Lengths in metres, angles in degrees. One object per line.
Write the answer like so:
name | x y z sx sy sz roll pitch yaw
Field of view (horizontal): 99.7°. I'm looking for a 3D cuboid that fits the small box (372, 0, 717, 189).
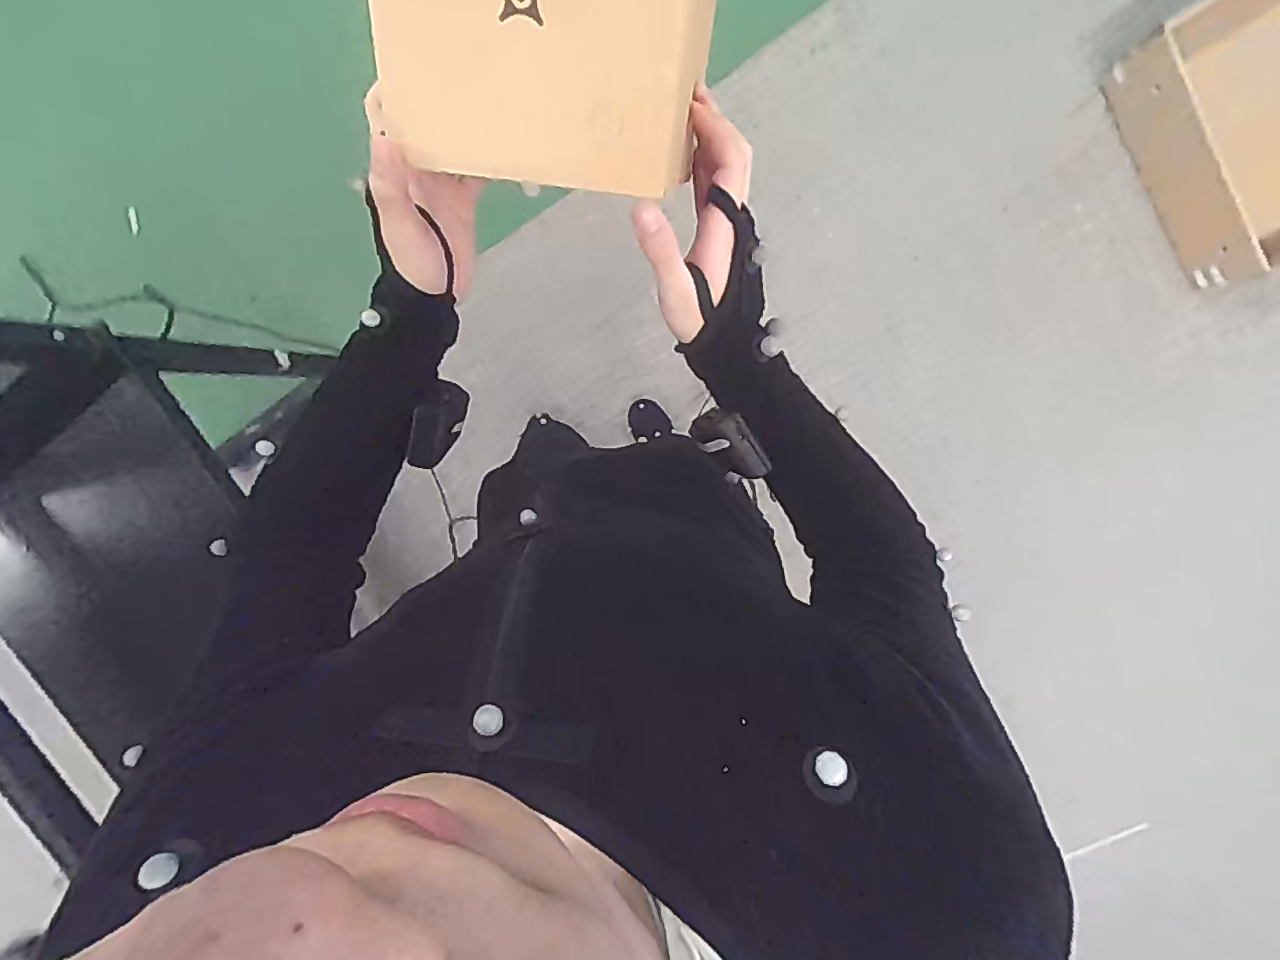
small box | -0.042 -0.290 0.330 0.168 0.176 0.179 11 122 5
